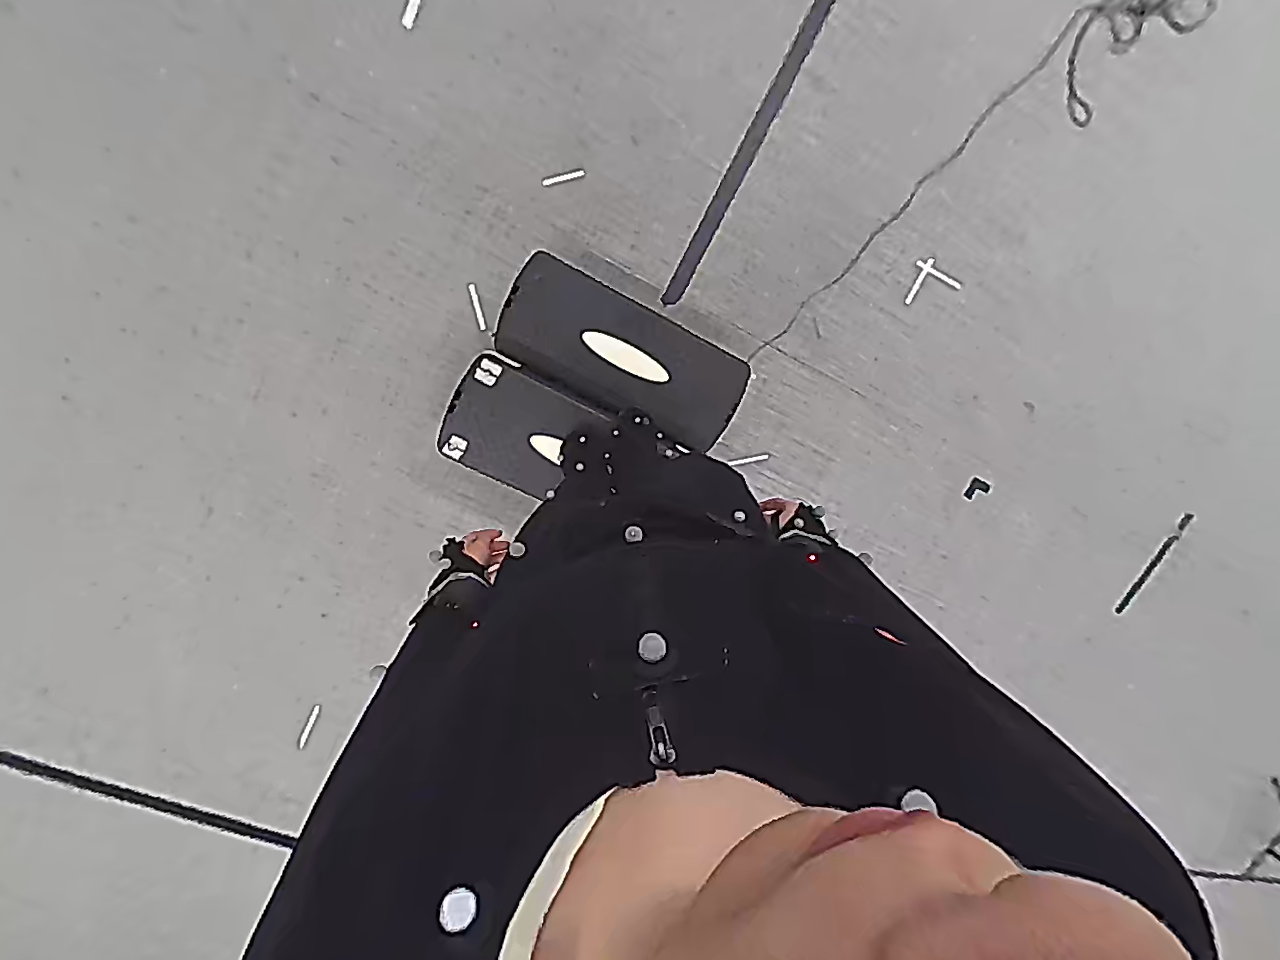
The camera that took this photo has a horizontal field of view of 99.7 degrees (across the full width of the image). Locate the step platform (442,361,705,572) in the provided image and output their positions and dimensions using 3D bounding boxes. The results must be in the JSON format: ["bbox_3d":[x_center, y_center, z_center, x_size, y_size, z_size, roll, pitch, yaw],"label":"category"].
[{"bbox_3d":[-0.165,-0.032,1.450,0.684,0.204,0.286,30,96,-9],"label":"step platform"}]
